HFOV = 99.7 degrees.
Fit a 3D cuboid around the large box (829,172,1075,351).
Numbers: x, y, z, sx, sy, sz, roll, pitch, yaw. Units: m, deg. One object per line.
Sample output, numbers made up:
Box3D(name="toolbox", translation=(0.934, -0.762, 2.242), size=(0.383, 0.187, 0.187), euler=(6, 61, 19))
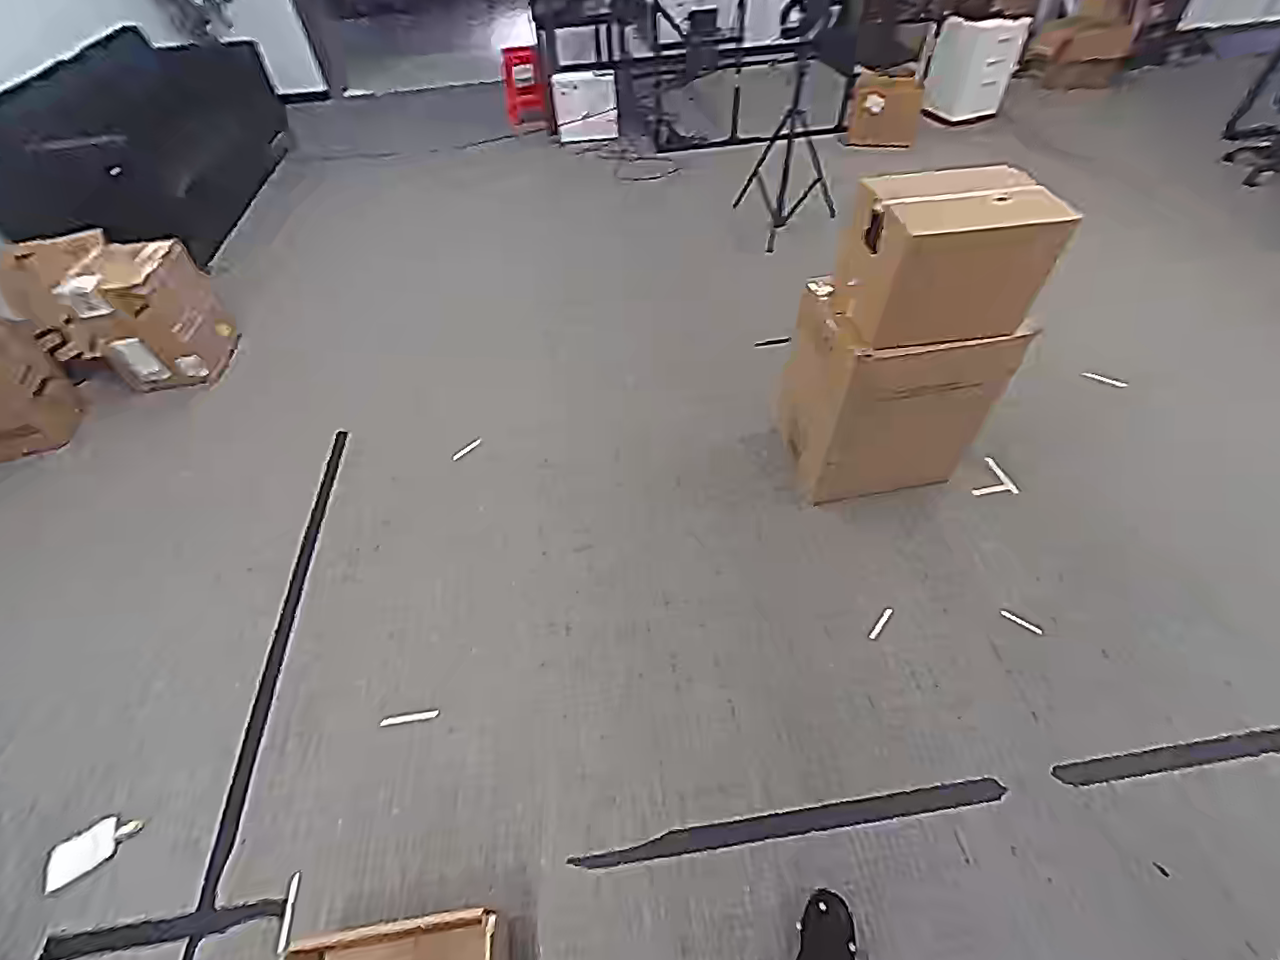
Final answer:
Box3D(name="large box", translation=(0.768, -0.568, 1.409), size=(0.408, 0.320, 0.320), euler=(-7, 50, -3))
